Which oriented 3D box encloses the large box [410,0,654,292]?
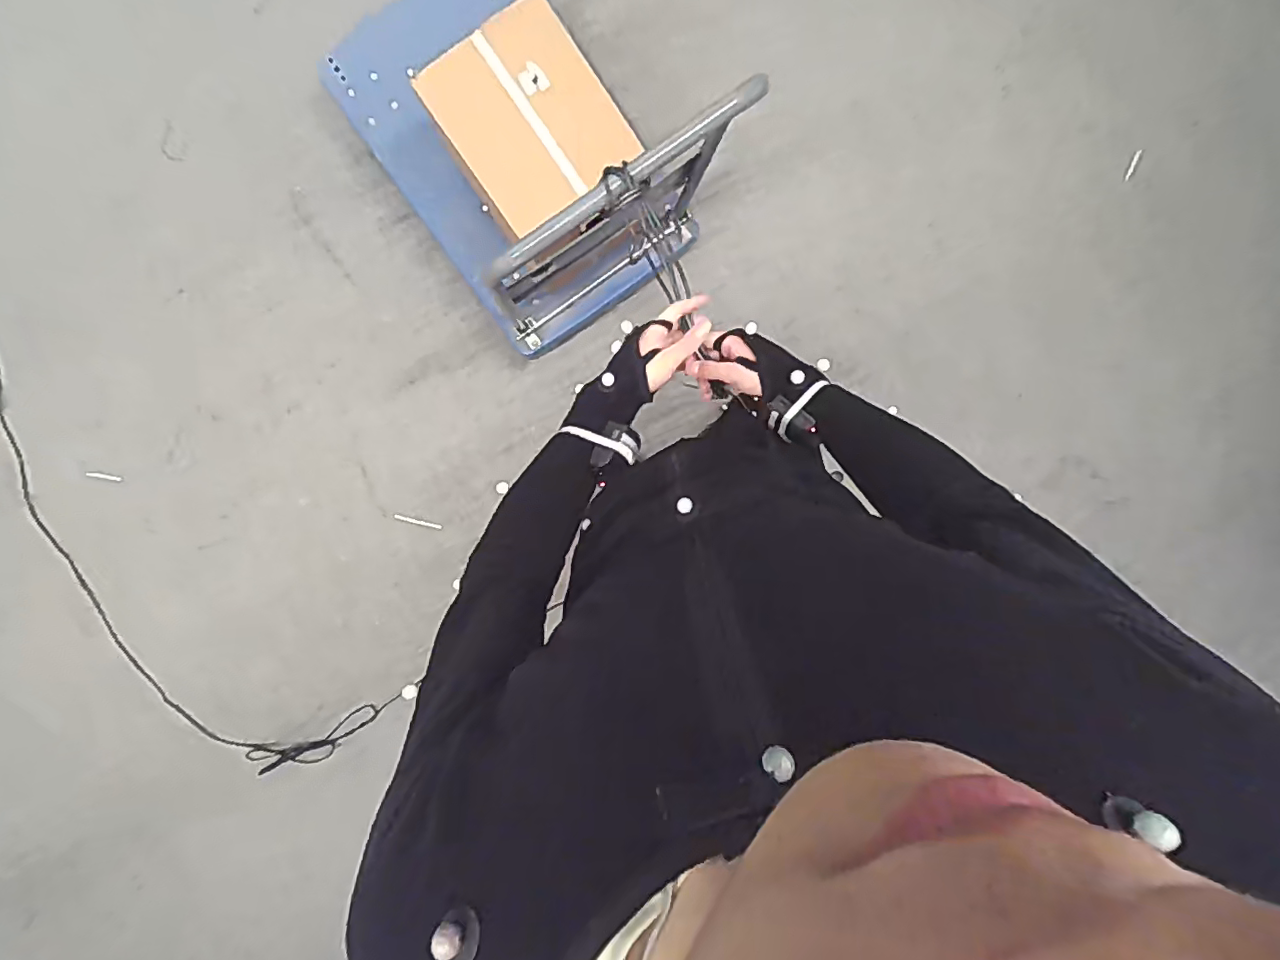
[{"bbox_3d":[-0.213,-0.707,1.208,0.320,0.320,0.408,-36,95,0],"label":"large box"}]
